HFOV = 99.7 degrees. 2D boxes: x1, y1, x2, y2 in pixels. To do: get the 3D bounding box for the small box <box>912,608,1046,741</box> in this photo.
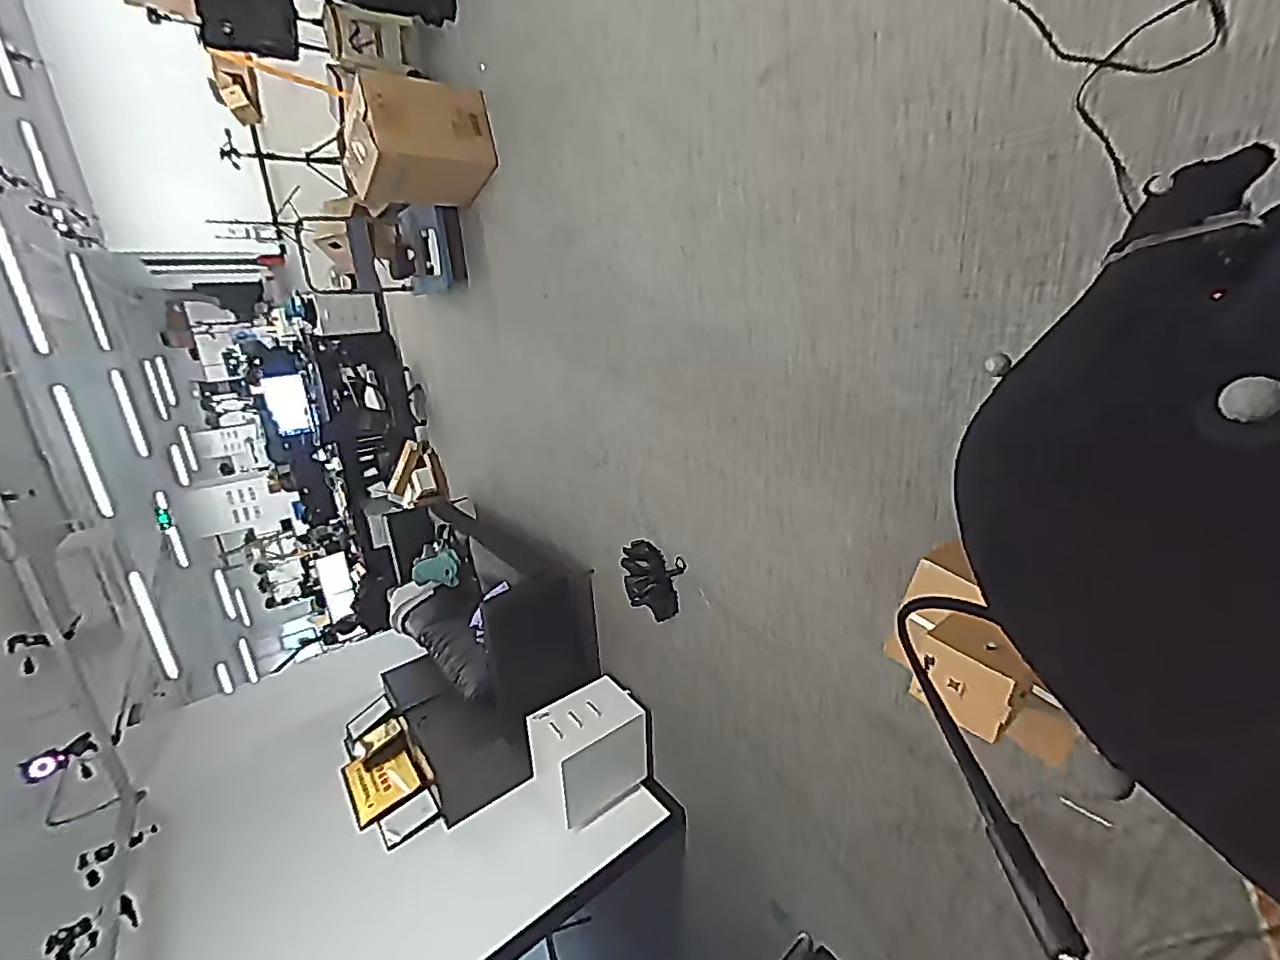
[{"bbox_3d":[0.717,0.399,1.144,0.179,0.176,0.168,27,124,46],"label":"small box"}]
